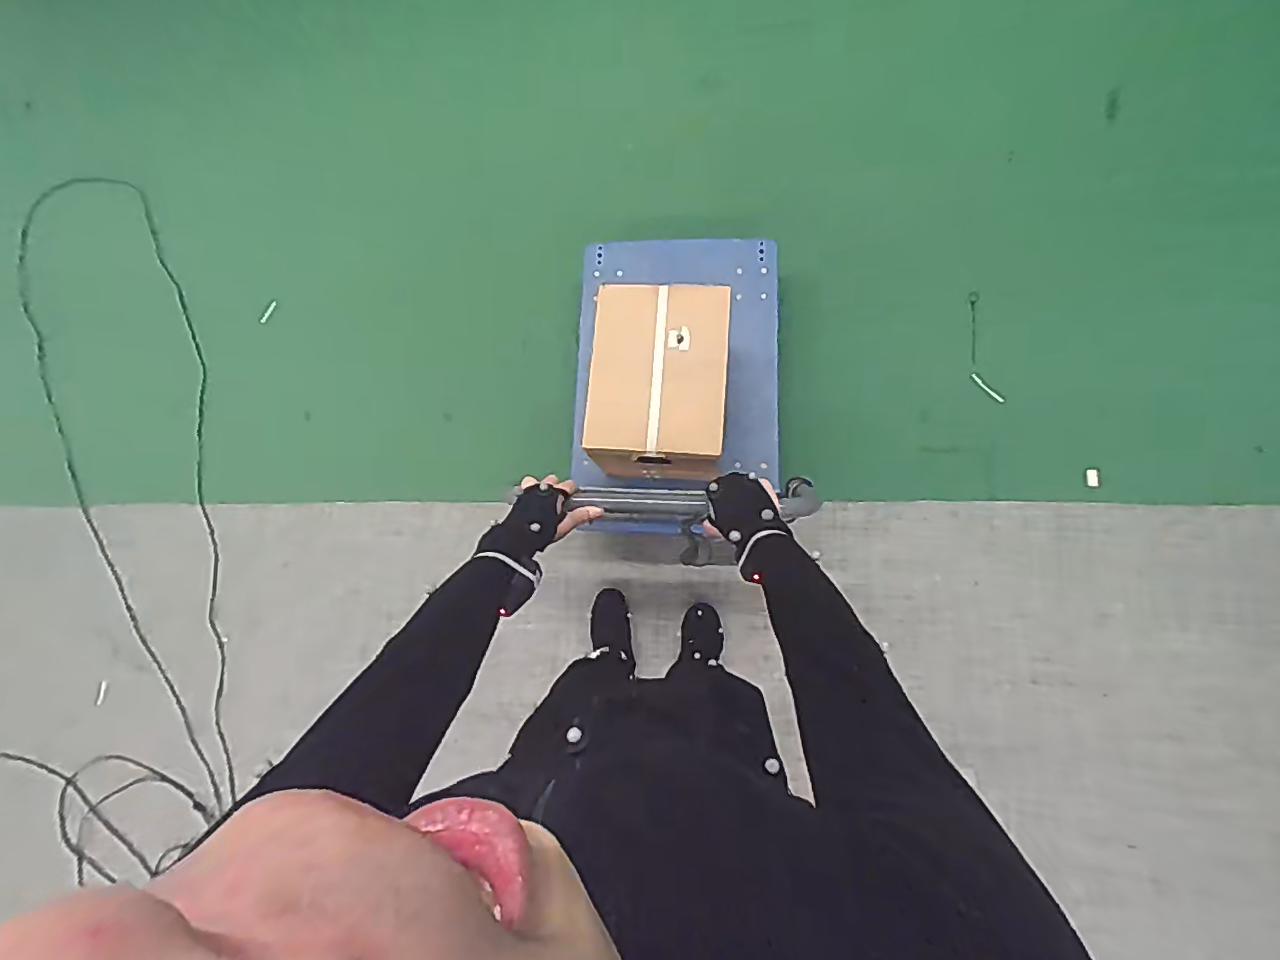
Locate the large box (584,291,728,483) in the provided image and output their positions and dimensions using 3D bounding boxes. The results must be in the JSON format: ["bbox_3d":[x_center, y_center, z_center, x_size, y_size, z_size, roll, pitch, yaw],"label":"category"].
[{"bbox_3d":[0.056,-0.218,1.381,0.320,0.320,0.408,4,79,6],"label":"large box"}]
